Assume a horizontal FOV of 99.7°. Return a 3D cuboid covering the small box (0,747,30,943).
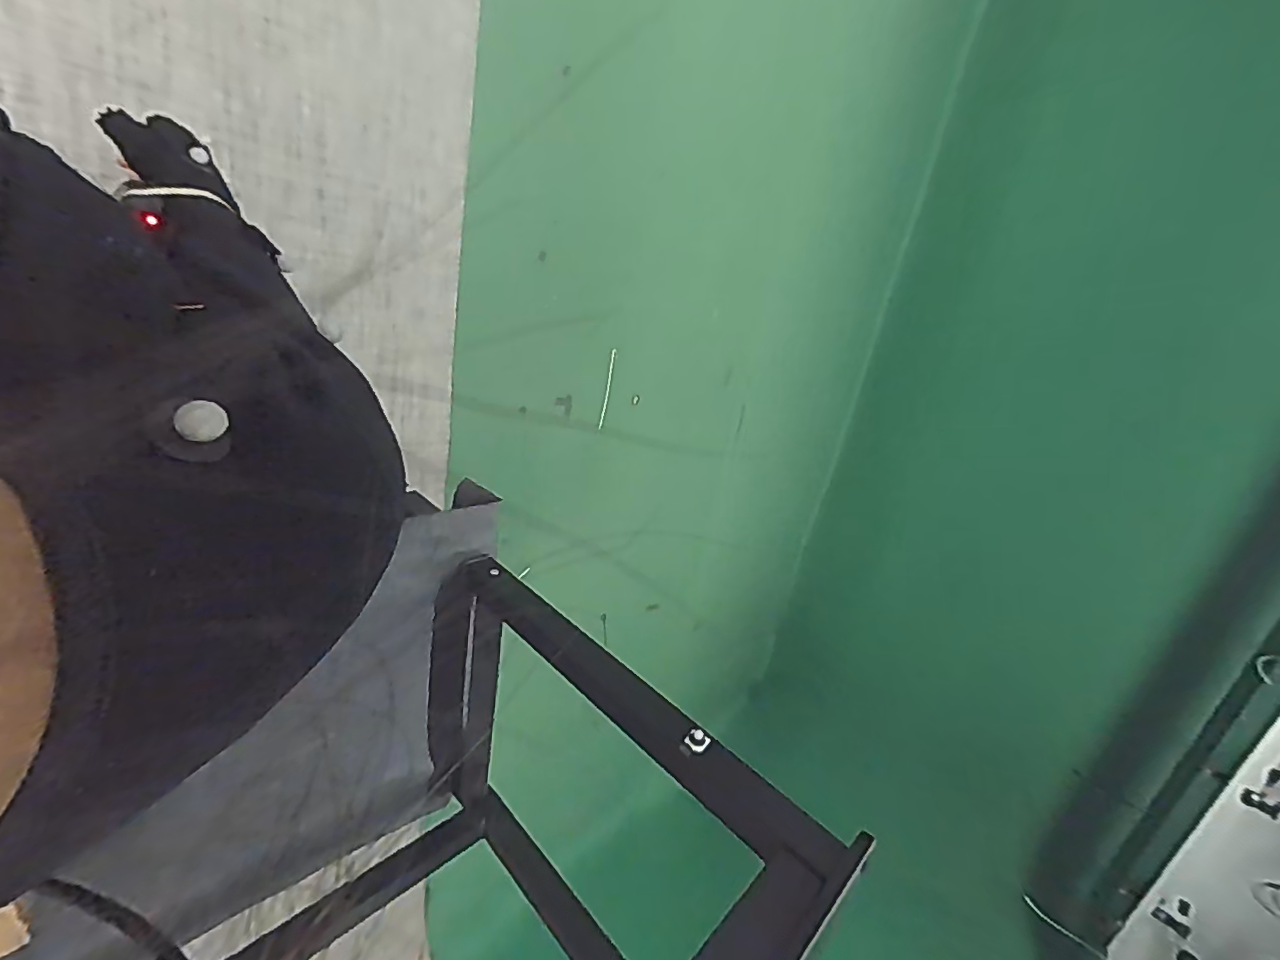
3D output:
[{"bbox_3d":[-0.719,0.361,0.510,0.168,0.176,0.179,-15,123,-46],"label":"small box"}]
